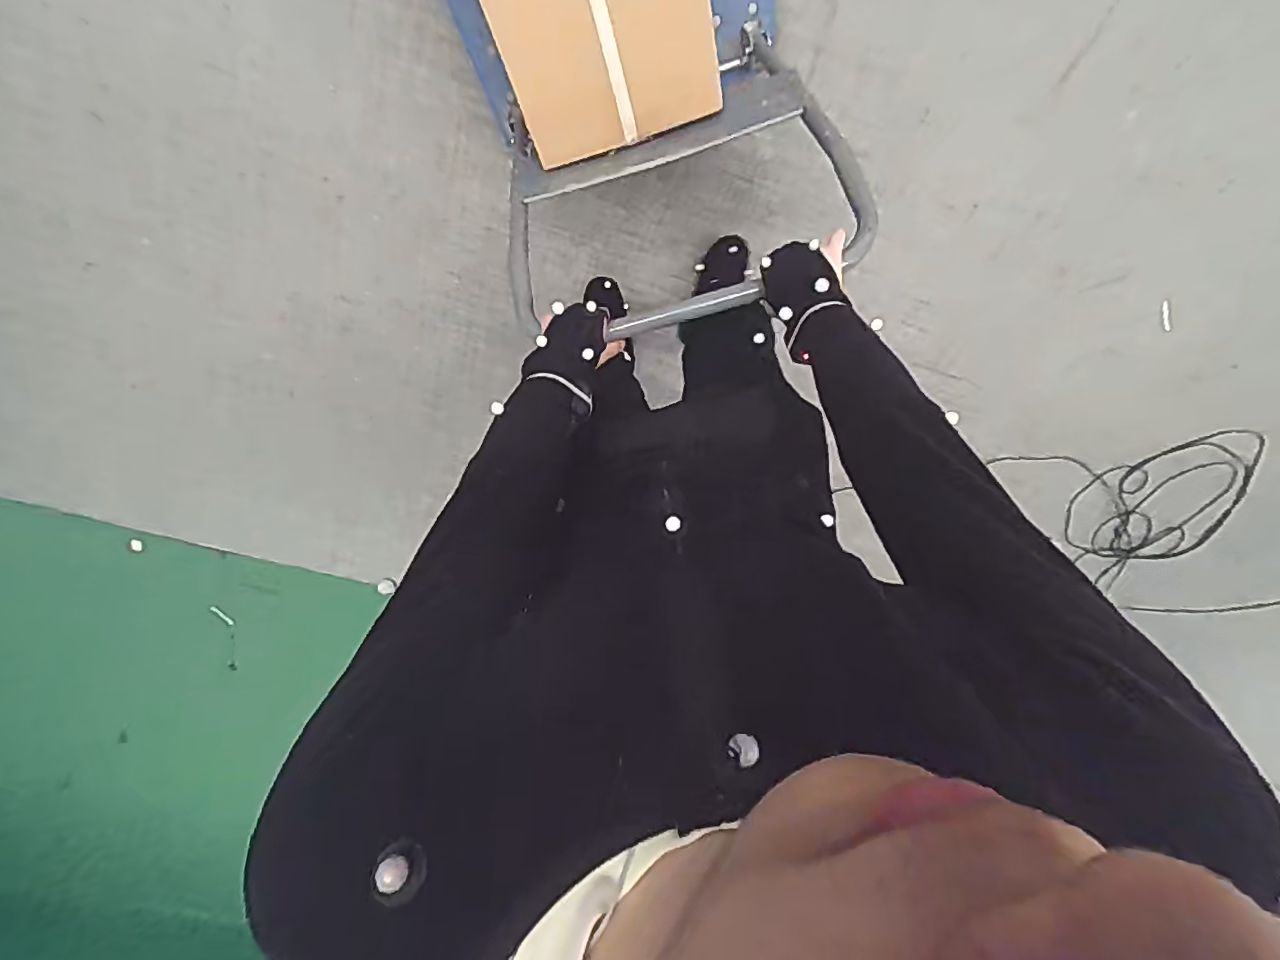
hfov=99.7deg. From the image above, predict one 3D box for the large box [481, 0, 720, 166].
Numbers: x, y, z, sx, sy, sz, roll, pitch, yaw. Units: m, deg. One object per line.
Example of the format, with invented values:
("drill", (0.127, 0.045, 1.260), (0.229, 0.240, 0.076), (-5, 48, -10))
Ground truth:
("large box", (-0.081, -0.806, 0.859), (0.320, 0.320, 0.408), (-14, 139, 8))
